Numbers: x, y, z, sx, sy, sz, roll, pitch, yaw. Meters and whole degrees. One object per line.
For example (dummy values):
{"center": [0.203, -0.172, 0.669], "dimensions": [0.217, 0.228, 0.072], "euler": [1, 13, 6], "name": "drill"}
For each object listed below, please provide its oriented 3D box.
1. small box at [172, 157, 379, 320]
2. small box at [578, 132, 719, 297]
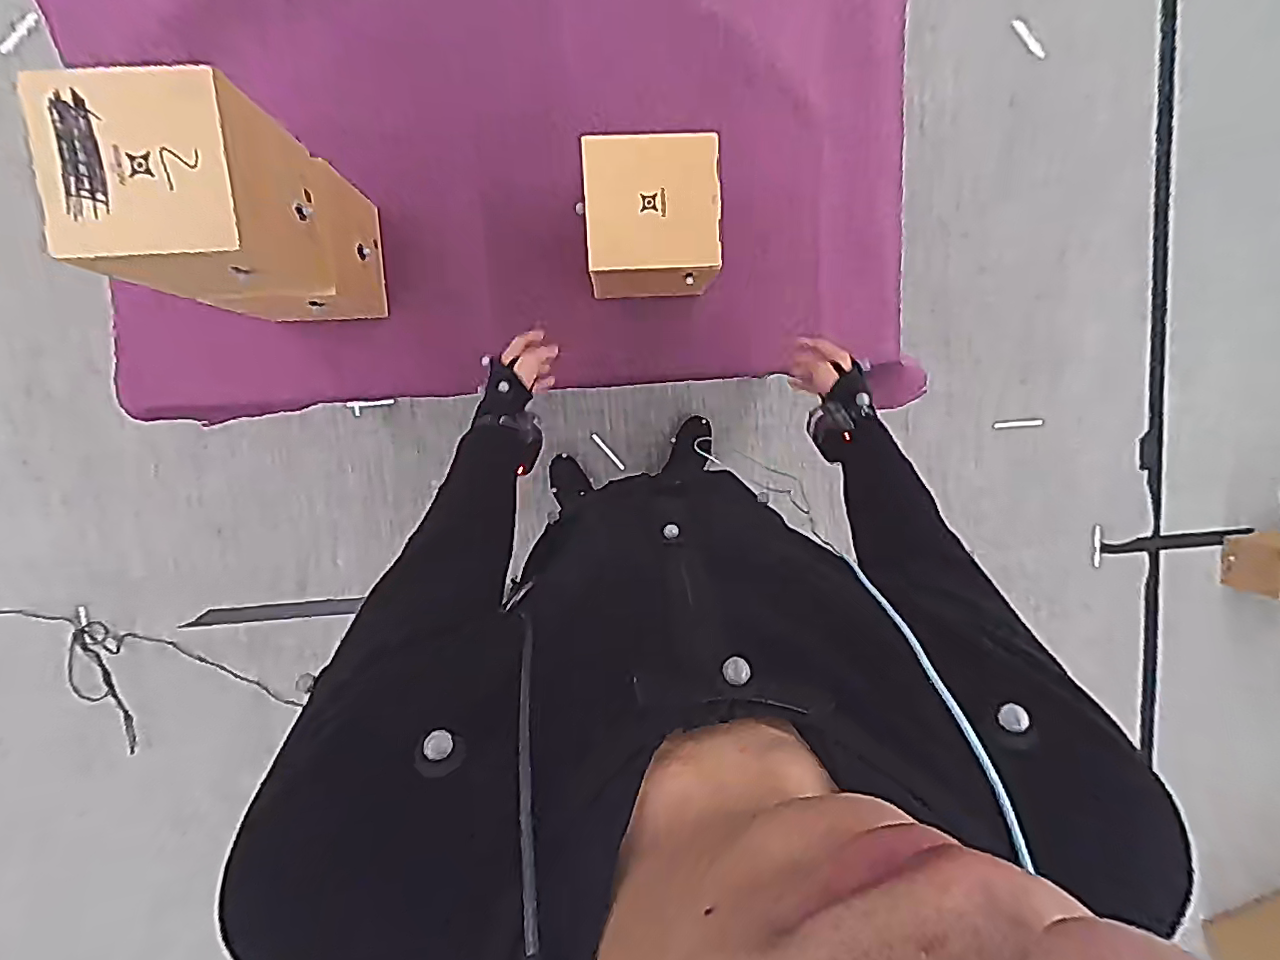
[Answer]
{"center": [-0.477, -0.318, 0.741], "dimensions": [0.179, 0.176, 0.168], "euler": [-3, 97, -3], "name": "small box"}
{"center": [0.009, -0.362, 0.765], "dimensions": [0.179, 0.176, 0.168], "euler": [-3, 97, -3], "name": "small box"}
